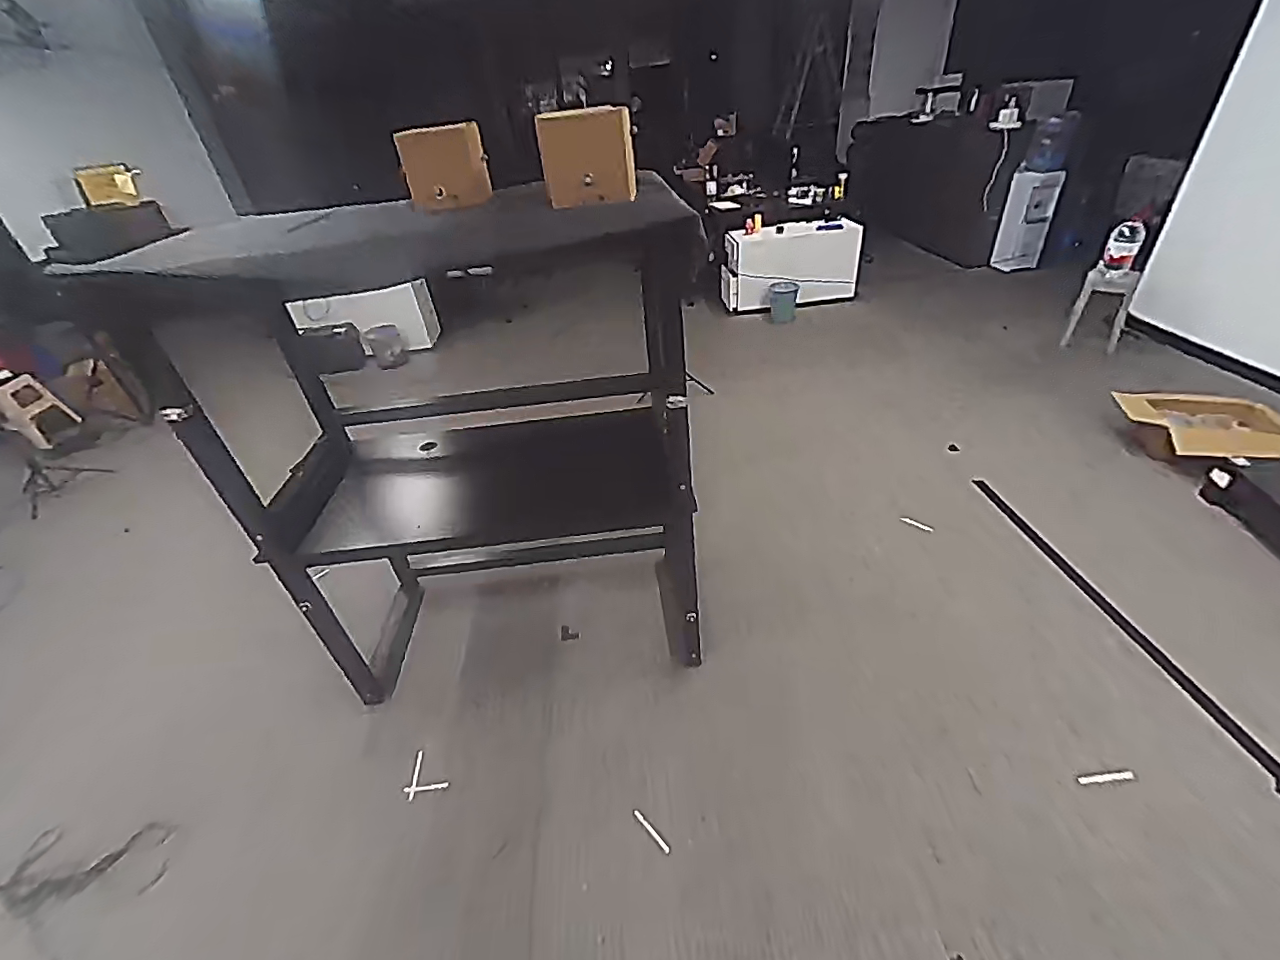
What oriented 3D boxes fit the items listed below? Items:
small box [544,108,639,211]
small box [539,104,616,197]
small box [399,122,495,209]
[{"bbox_3d":[-0.093,-0.675,1.140,0.168,0.176,0.179,-3,36,6],"label":"small box"},{"bbox_3d":[-0.134,-0.795,1.311,0.168,0.176,0.179,-3,38,4],"label":"small box"},{"bbox_3d":[-0.470,-0.784,1.350,0.168,0.176,0.179,-7,36,0],"label":"small box"}]
